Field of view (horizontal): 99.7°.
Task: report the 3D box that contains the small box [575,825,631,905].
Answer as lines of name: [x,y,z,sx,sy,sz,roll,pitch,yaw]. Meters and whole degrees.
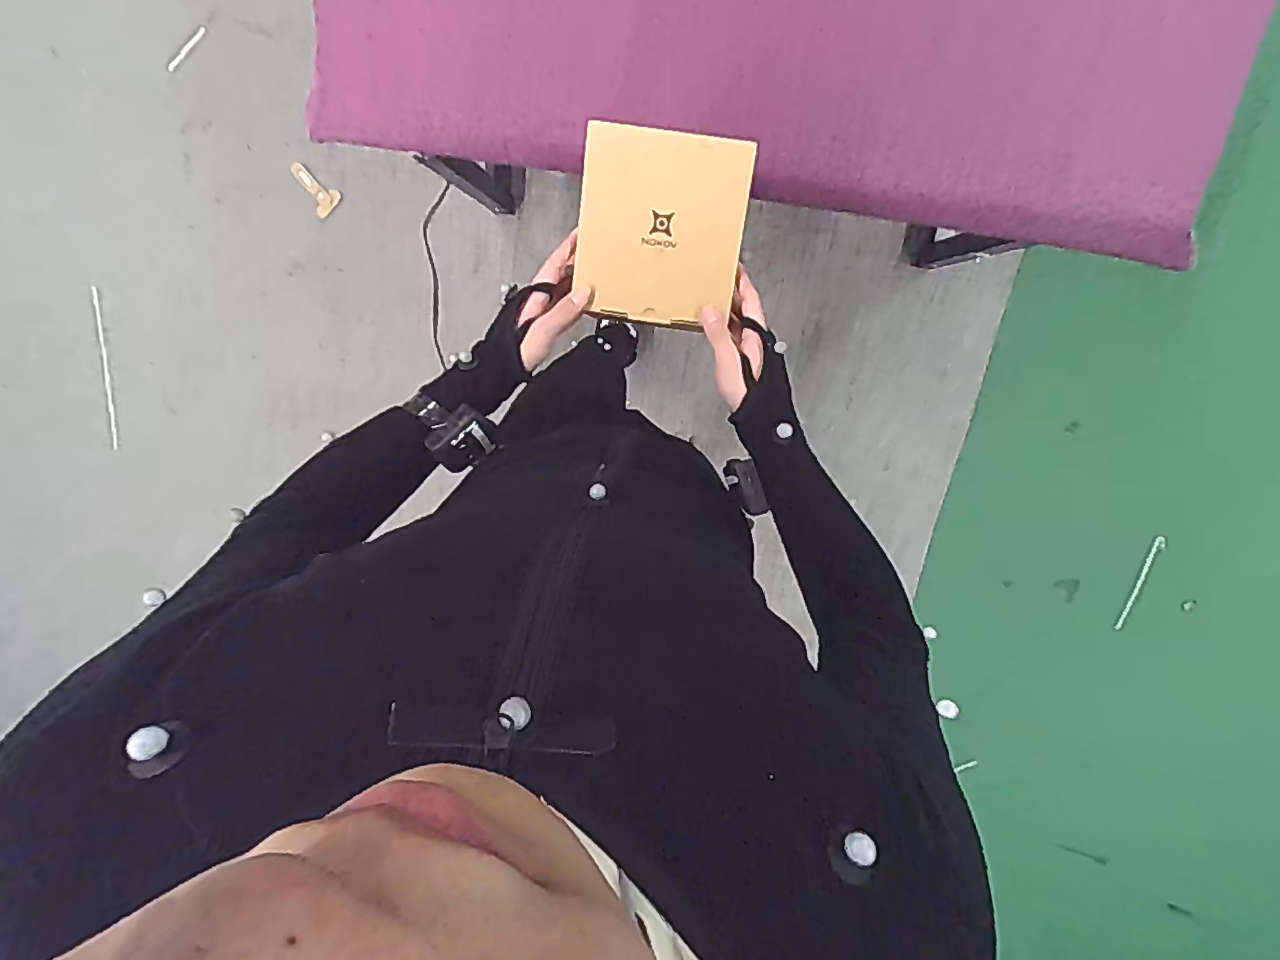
small box: [-0.127,1.354,1.922,0.168,0.176,0.179,11,106,0]
